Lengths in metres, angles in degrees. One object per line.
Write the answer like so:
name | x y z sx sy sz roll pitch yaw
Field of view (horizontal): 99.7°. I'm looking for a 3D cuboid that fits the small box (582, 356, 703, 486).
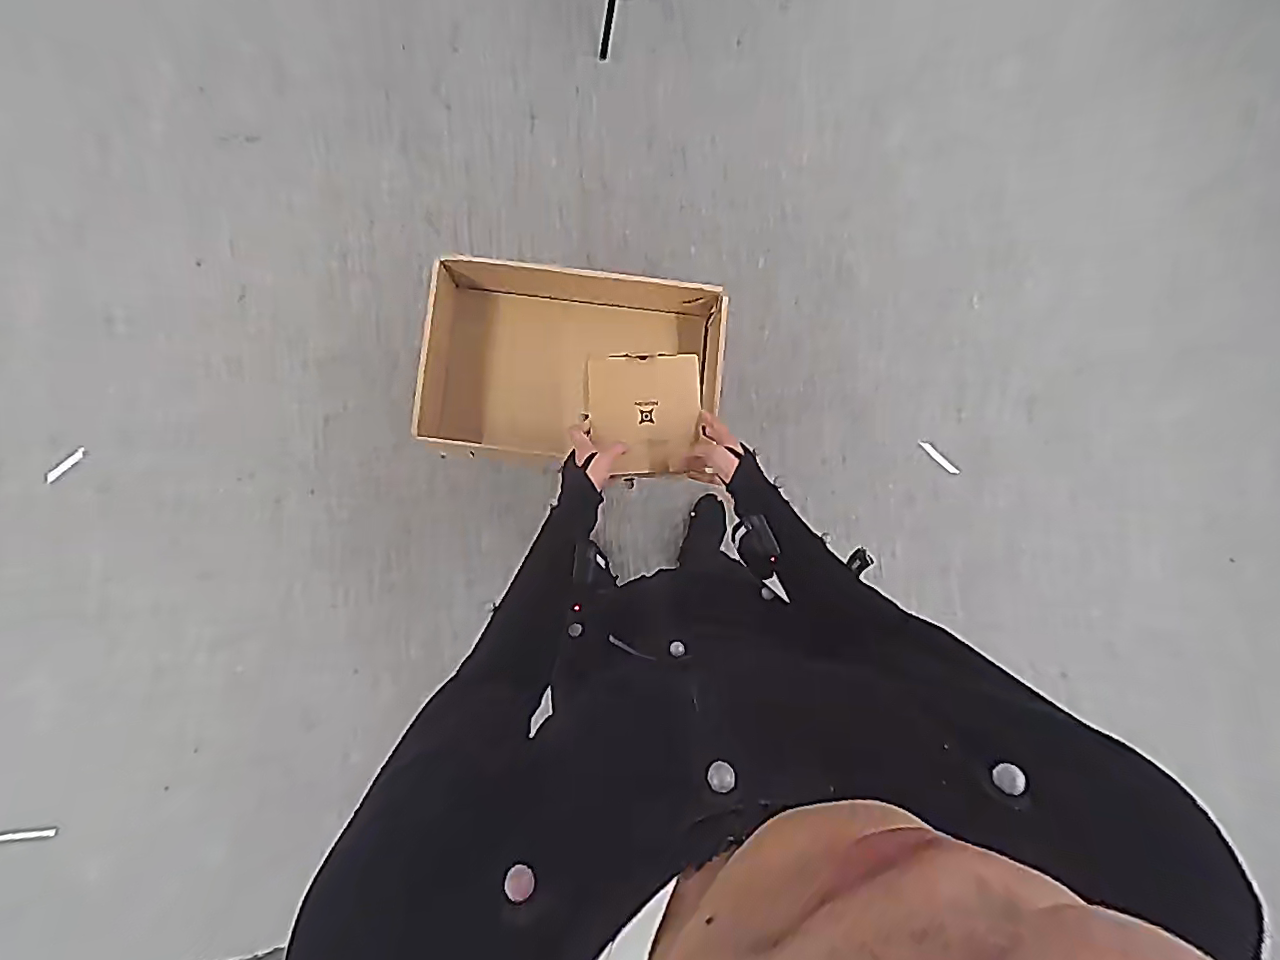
small box | -0.004 -0.085 0.853 0.168 0.176 0.179 -3 87 -7
